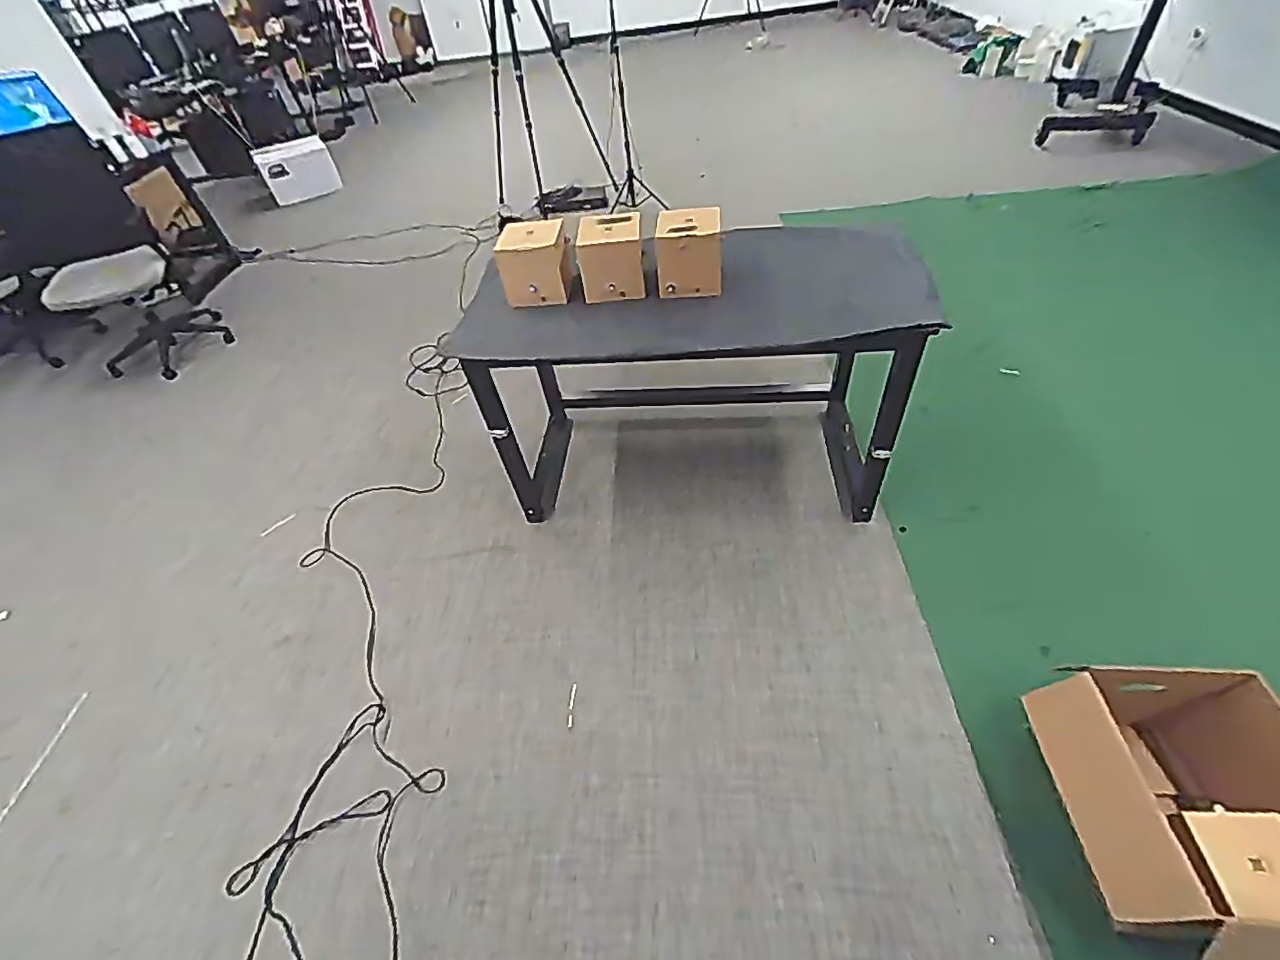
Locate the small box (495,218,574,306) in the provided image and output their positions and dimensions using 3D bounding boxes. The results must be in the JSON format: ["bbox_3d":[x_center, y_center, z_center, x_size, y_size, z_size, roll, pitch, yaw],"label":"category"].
[{"bbox_3d":[-0.284,-0.607,1.509,0.168,0.176,0.179,-3,47,6],"label":"small box"}]
